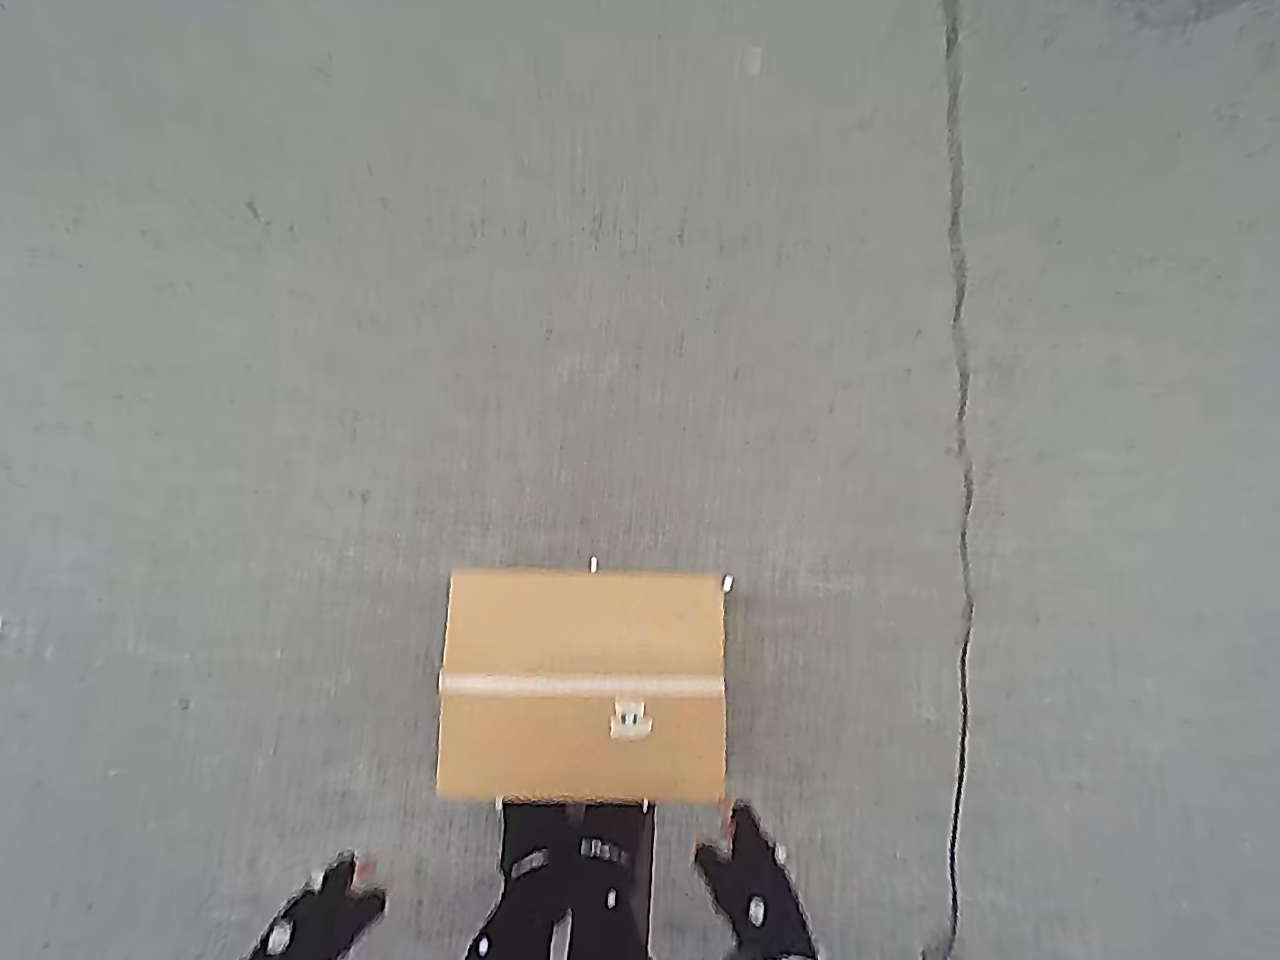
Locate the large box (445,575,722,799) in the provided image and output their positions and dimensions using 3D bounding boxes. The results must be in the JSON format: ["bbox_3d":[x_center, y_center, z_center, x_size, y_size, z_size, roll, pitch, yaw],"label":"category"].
[{"bbox_3d":[-0.087,0.328,0.943,0.408,0.320,0.320,2,80,-3],"label":"large box"}]
